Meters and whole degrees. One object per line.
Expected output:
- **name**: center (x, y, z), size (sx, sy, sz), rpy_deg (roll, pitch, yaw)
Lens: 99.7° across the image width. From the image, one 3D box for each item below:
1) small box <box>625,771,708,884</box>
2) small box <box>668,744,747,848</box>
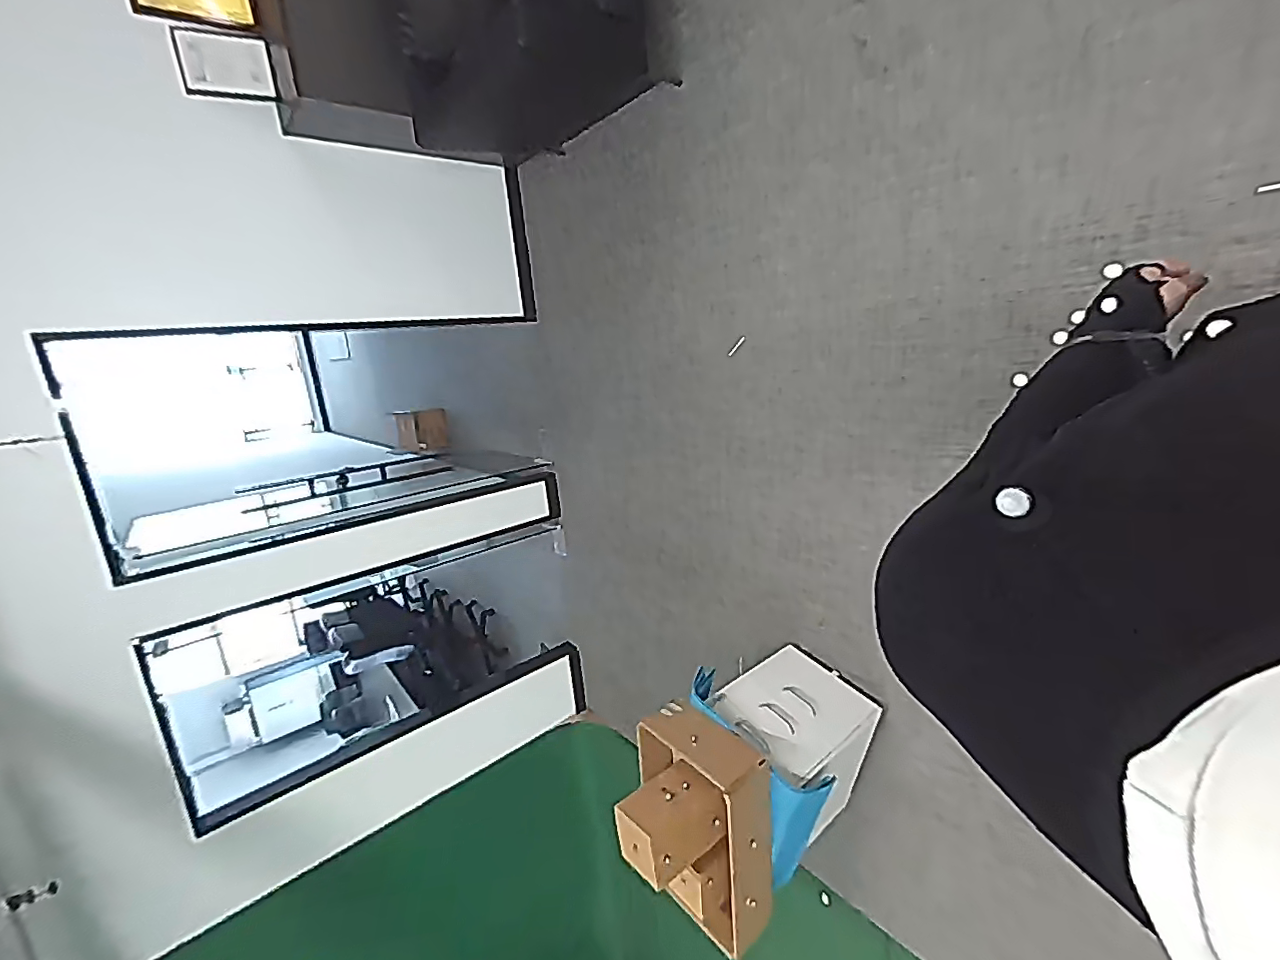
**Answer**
- **small box**: center (0.079, 0.990, 1.555), size (0.168, 0.176, 0.179), rpy_deg (7, 108, 53)
- **small box**: center (0.209, 0.954, 1.647), size (0.168, 0.176, 0.179), rpy_deg (10, 111, 53)
